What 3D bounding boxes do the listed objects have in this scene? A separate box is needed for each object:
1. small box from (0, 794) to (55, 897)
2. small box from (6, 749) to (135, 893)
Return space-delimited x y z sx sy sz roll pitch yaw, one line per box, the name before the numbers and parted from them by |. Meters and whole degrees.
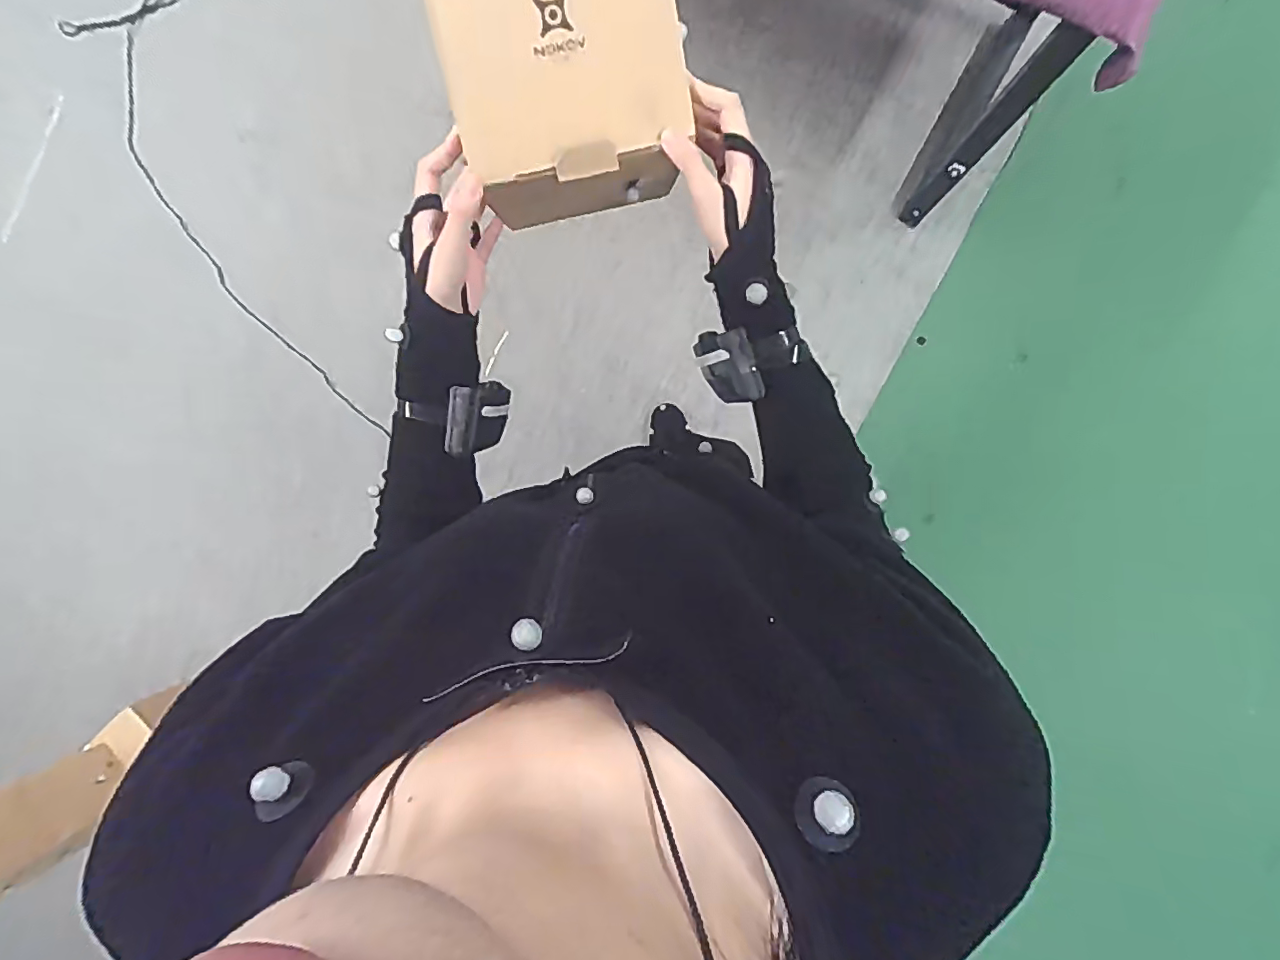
small box | -1.342 0.760 1.064 0.168 0.176 0.179 -42 89 5
small box | -1.322 0.761 1.225 0.179 0.176 0.168 -43 88 5
